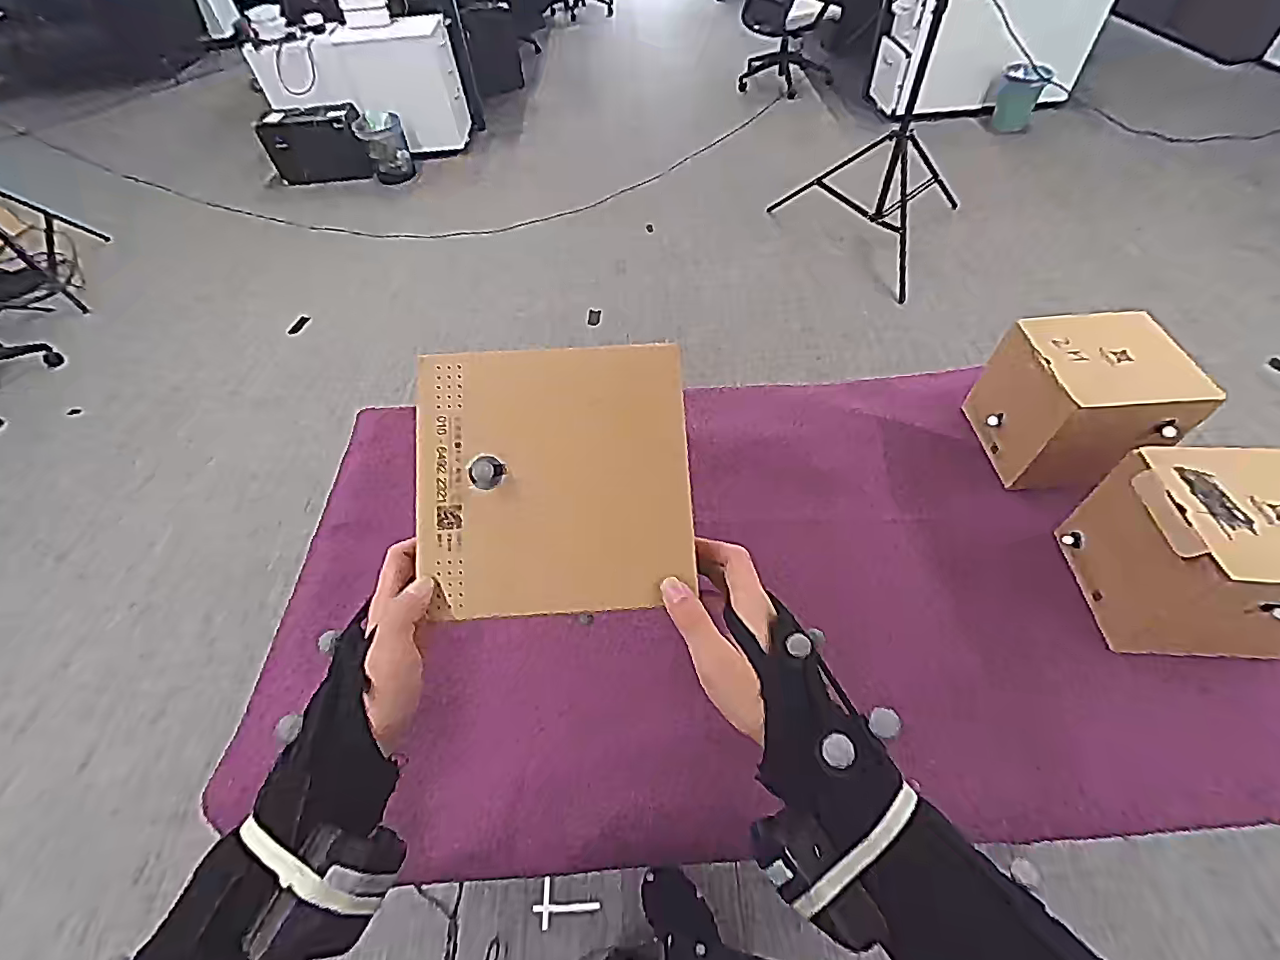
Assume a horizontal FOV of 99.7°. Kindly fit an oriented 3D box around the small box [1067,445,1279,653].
[{"bbox_3d":[0.617,0.079,0.591,0.179,0.176,0.168,1,51,5],"label":"small box"}]

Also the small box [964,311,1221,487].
[{"bbox_3d":[0.588,-0.105,0.736,0.179,0.176,0.168,-4,53,1],"label":"small box"}]
